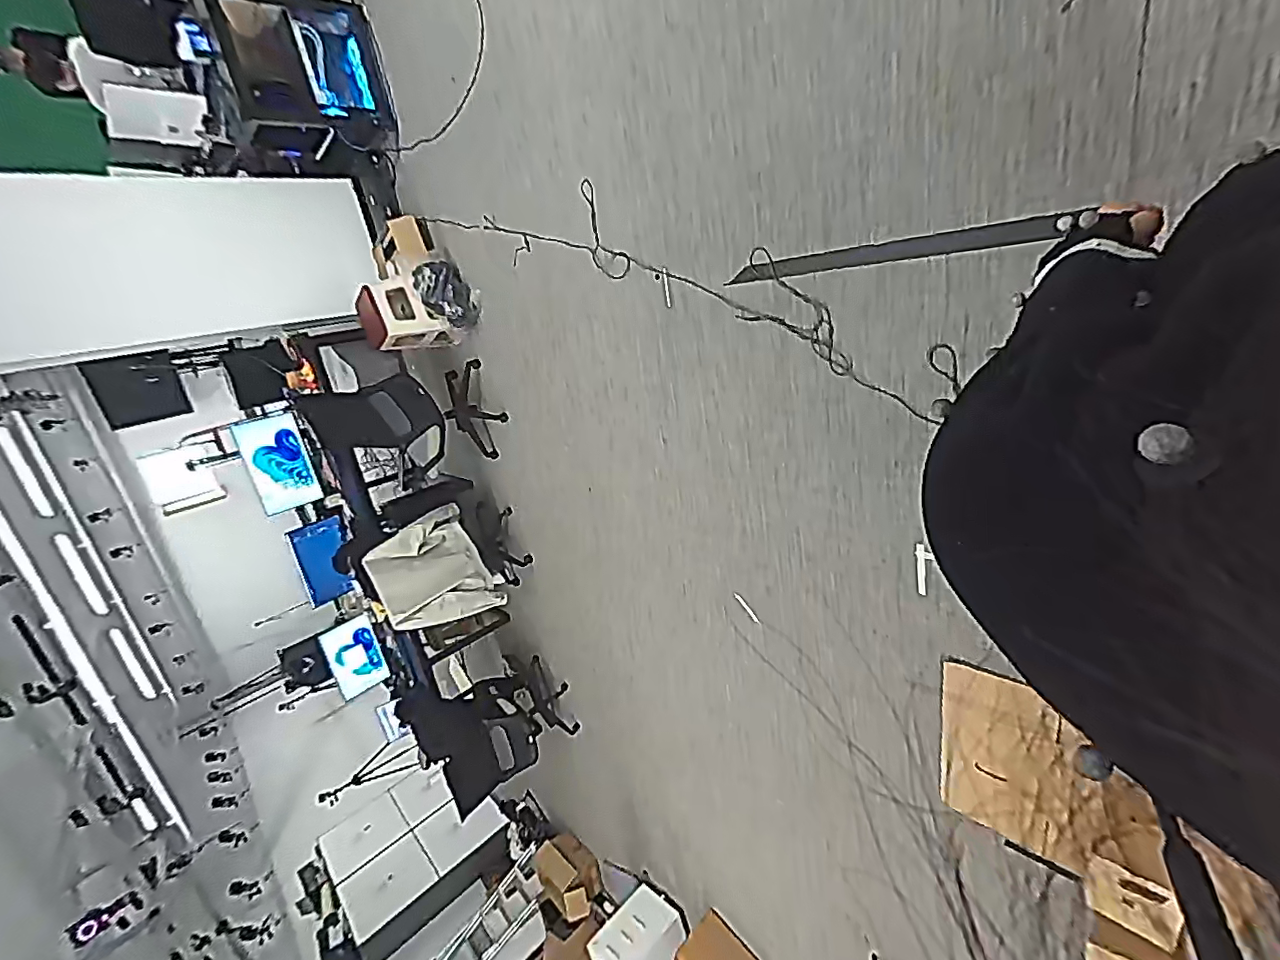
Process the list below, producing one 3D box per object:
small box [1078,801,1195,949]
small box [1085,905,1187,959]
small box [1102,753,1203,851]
[{"bbox_3d":[1.126,0.882,1.227,0.168,0.176,0.179,13,120,46],"label":"small box"},{"bbox_3d":[1.189,1.137,1.296,0.168,0.176,0.179,4,113,48],"label":"small box"},{"bbox_3d":[1.245,0.814,1.320,0.168,0.176,0.179,9,118,48],"label":"small box"}]
